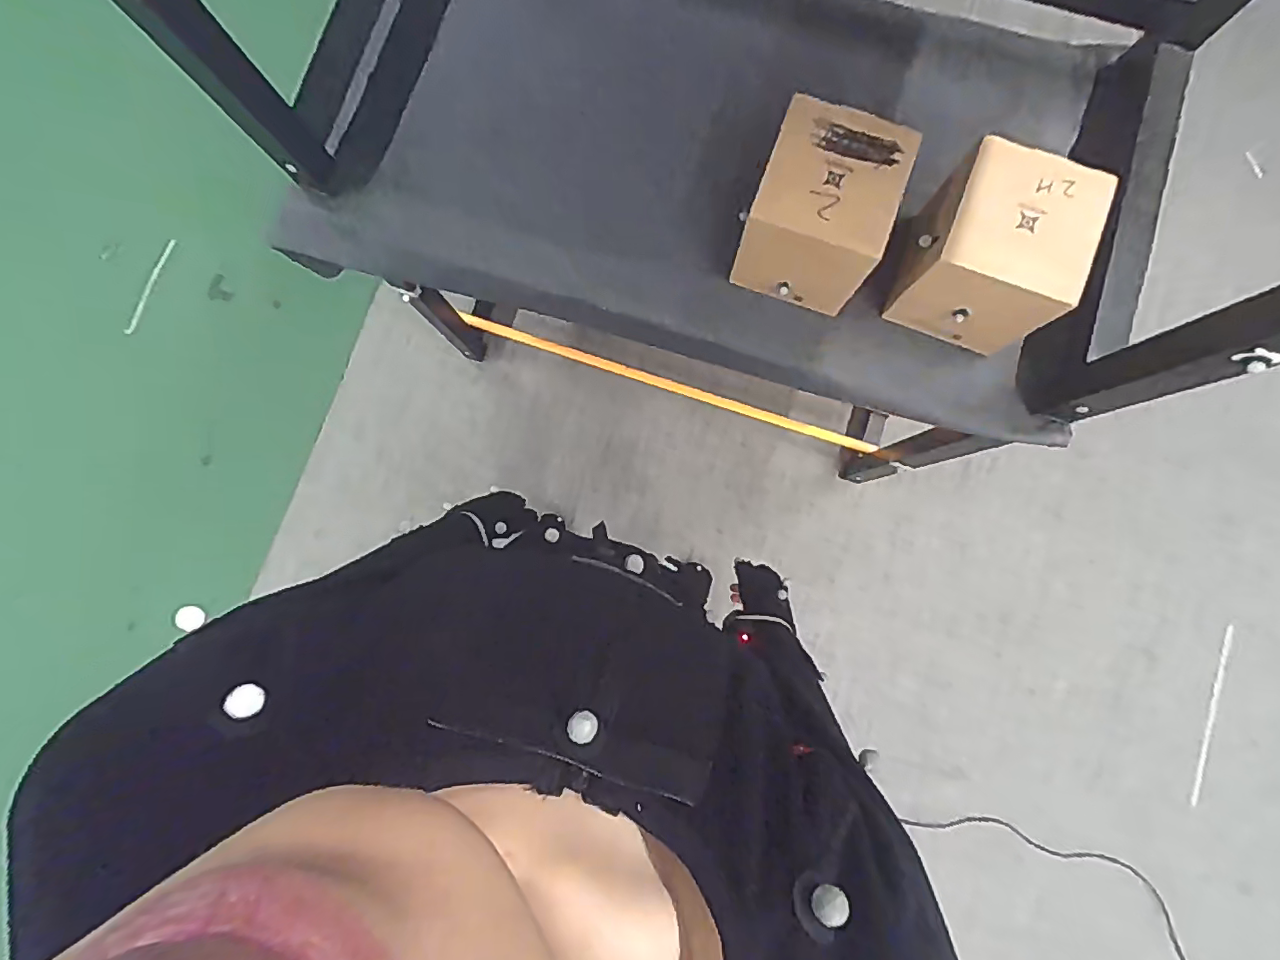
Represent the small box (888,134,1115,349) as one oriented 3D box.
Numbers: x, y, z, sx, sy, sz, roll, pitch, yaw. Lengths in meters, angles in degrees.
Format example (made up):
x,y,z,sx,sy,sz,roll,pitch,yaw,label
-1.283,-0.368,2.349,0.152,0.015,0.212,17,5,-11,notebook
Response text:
x,y,z,sx,sy,sz,roll,pitch,yaw,label
0.457,-0.298,0.715,0.168,0.176,0.179,22,84,3,small box
